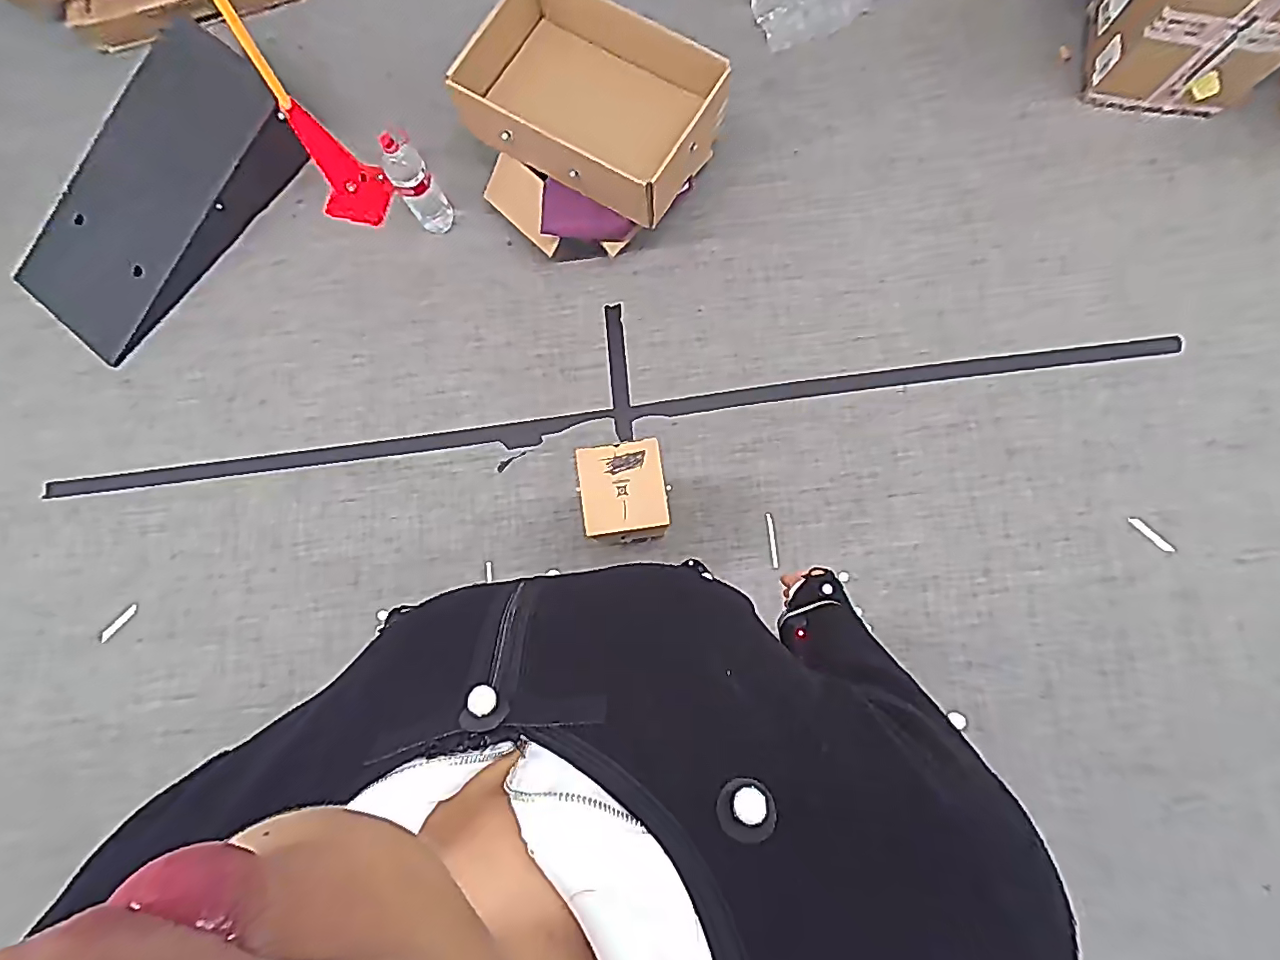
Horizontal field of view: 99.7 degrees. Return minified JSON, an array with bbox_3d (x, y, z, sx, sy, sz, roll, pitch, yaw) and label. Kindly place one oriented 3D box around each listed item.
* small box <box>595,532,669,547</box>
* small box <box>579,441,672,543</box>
[{"bbox_3d":[-0.026,0.060,1.290,0.168,0.176,0.179,-8,79,1],"label":"small box"},{"bbox_3d":[-0.028,0.031,1.127,0.168,0.176,0.179,-8,81,1],"label":"small box"}]
